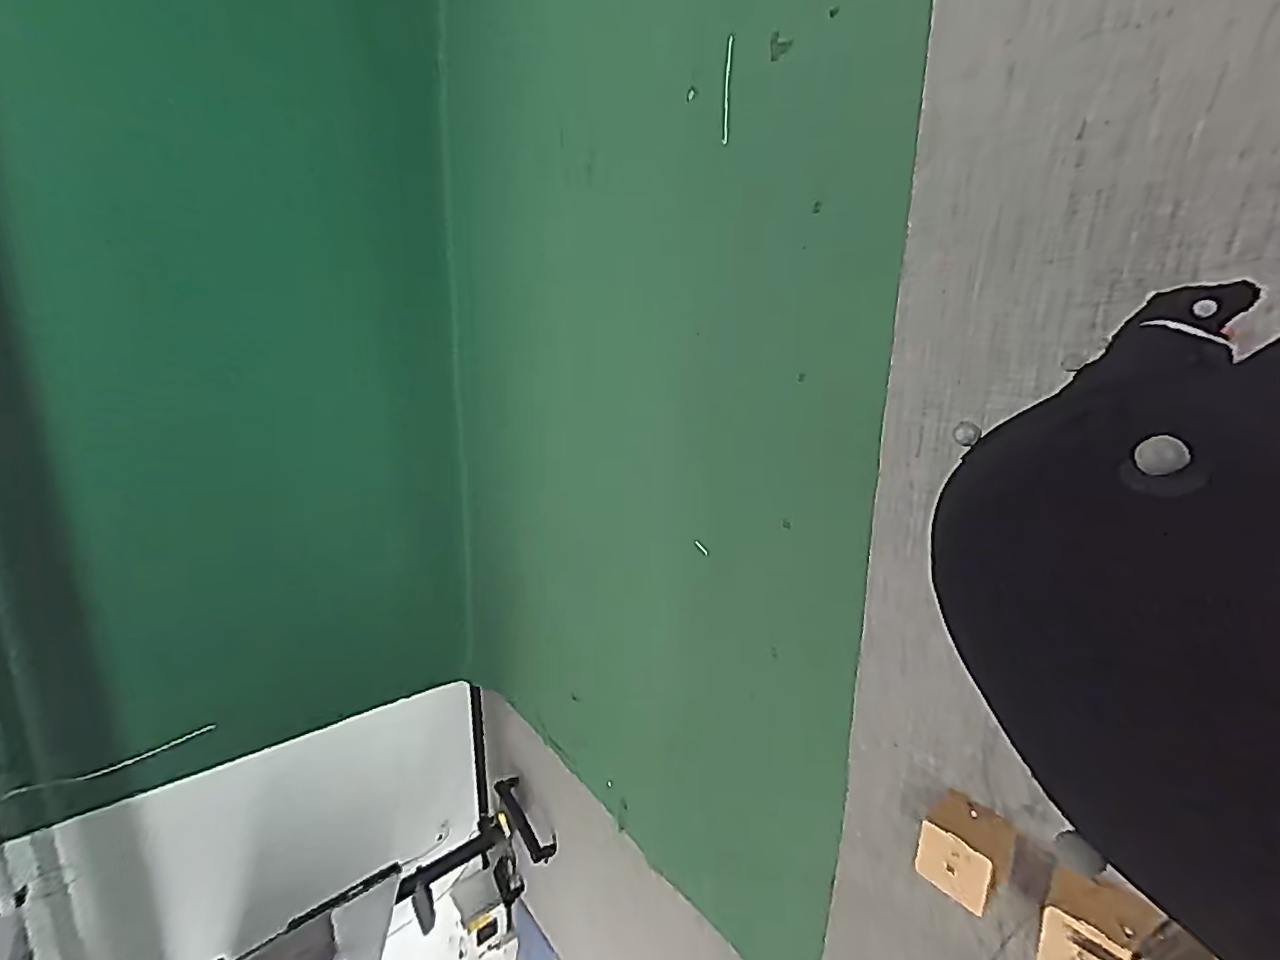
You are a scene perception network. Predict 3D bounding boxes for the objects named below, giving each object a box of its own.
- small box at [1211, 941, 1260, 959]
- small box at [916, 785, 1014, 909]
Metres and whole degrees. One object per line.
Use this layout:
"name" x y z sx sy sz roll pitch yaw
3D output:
"small box" 1.197 1.062 1.037 0.168 0.176 0.179 17 109 48
"small box" 0.864 0.964 1.436 0.168 0.176 0.179 17 109 48
